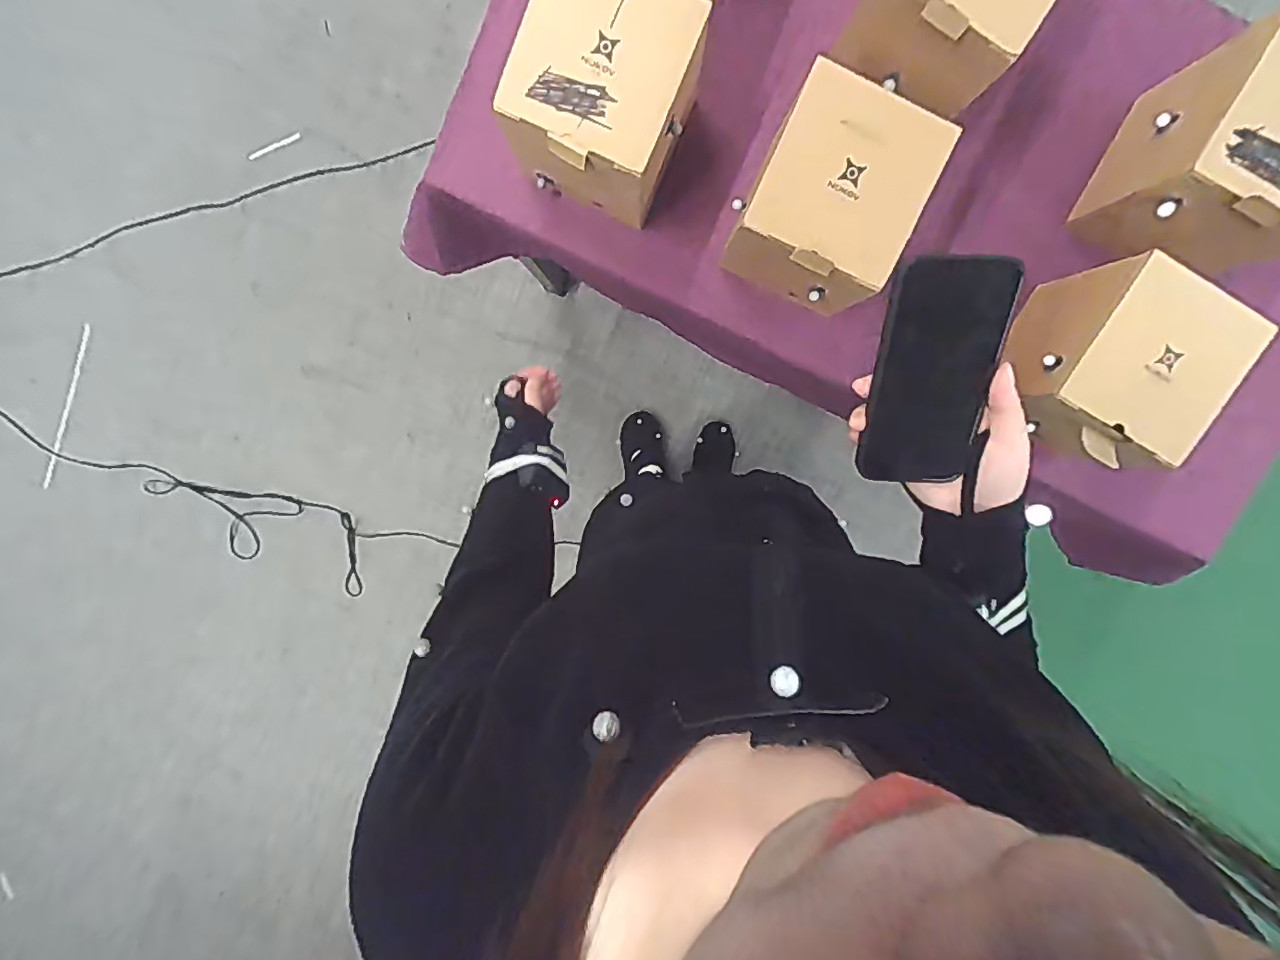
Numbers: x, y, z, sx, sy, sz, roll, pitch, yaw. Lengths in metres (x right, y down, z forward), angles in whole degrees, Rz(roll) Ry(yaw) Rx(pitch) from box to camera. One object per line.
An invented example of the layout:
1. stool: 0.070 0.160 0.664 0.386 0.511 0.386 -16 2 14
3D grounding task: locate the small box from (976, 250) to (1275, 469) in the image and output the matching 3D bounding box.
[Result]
1. small box: 0.555 -0.136 0.650 0.168 0.176 0.179 30 98 -4

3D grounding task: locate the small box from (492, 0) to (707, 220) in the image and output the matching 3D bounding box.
1. small box: -0.040 -0.428 0.609 0.168 0.176 0.179 23 97 -4

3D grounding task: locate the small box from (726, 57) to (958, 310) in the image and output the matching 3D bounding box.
1. small box: 0.211 -0.317 0.626 0.168 0.176 0.179 25 97 -4

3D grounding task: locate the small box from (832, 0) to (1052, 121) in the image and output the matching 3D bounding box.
1. small box: 0.341 -0.536 0.590 0.168 0.176 0.179 32 98 -4
